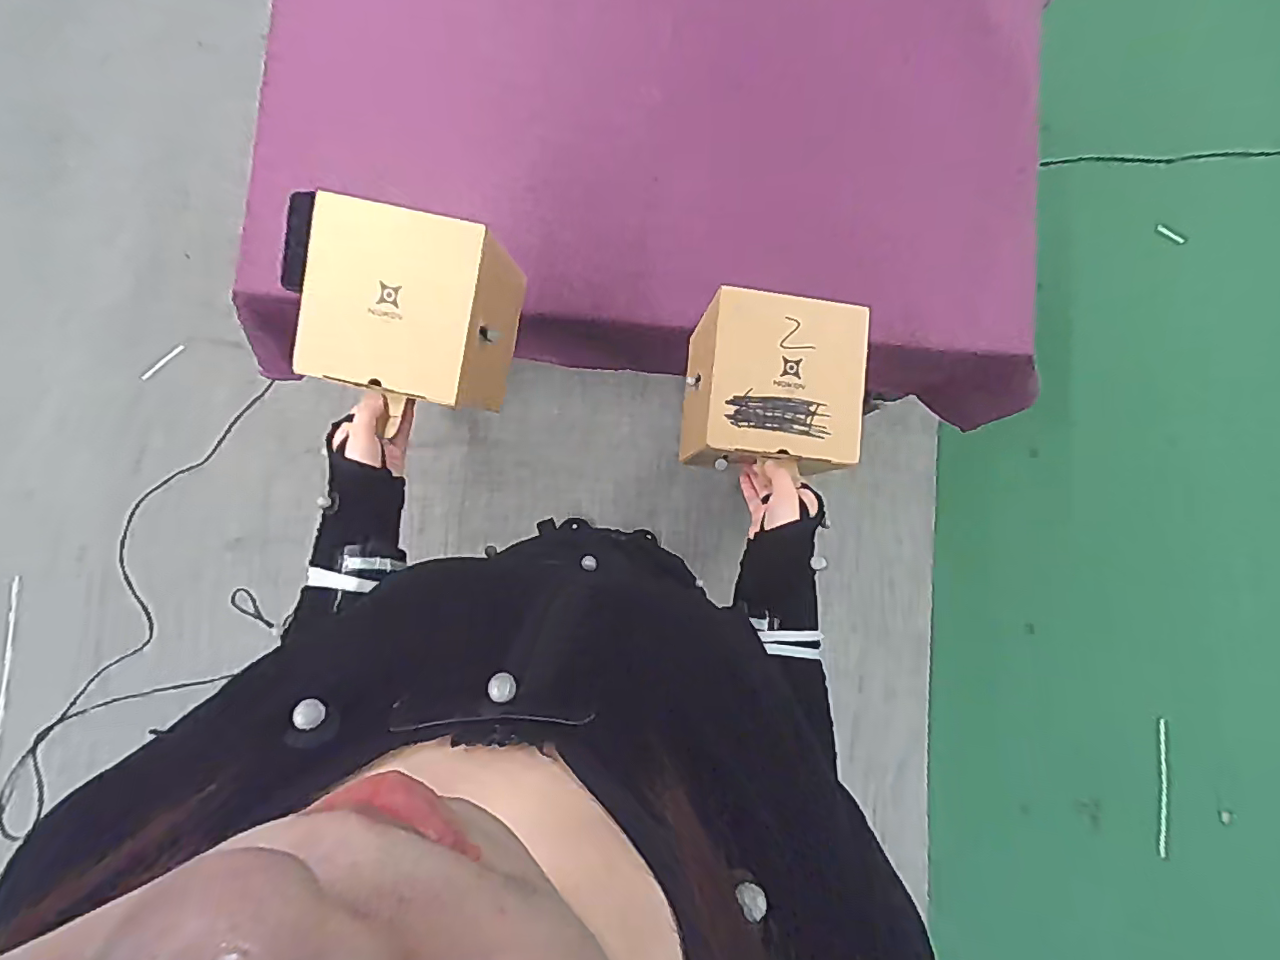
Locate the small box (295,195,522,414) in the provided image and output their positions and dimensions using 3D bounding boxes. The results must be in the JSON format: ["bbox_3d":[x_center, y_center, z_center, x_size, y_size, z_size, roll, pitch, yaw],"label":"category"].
[{"bbox_3d":[-0.237,-0.176,0.597,0.168,0.176,0.179,13,97,-1],"label":"small box"}]
